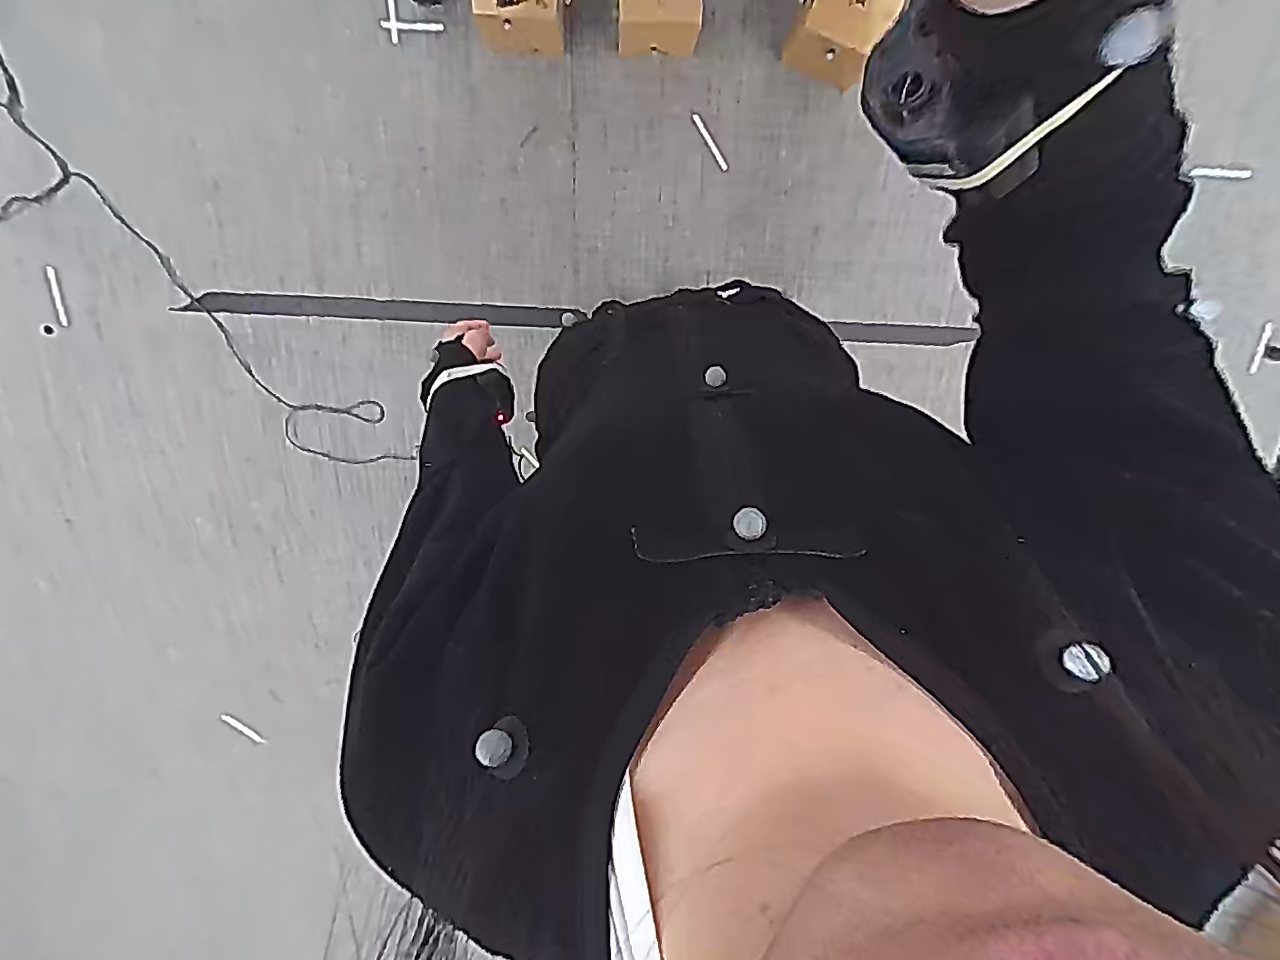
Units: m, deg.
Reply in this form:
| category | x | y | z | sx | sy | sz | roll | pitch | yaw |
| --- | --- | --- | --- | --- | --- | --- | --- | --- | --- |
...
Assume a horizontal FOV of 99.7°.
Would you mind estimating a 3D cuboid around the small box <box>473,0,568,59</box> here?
| category | x | y | z | sx | sy | sz | roll | pitch | yaw |
| --- | --- | --- | --- | --- | --- | --- | --- | --- | --- |
| small box | -0.239 | -1.007 | 1.102 | 0.168 | 0.176 | 0.179 | 3 | 106 | -3 |

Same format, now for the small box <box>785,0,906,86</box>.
| category | x | y | z | sx | sy | sz | roll | pitch | yaw |
| --- | --- | --- | --- | --- | --- | --- | --- | --- | --- |
| small box | 0.433 | -0.972 | 1.139 | 0.179 | 0.176 | 0.168 | 18 | 107 | -6 |
